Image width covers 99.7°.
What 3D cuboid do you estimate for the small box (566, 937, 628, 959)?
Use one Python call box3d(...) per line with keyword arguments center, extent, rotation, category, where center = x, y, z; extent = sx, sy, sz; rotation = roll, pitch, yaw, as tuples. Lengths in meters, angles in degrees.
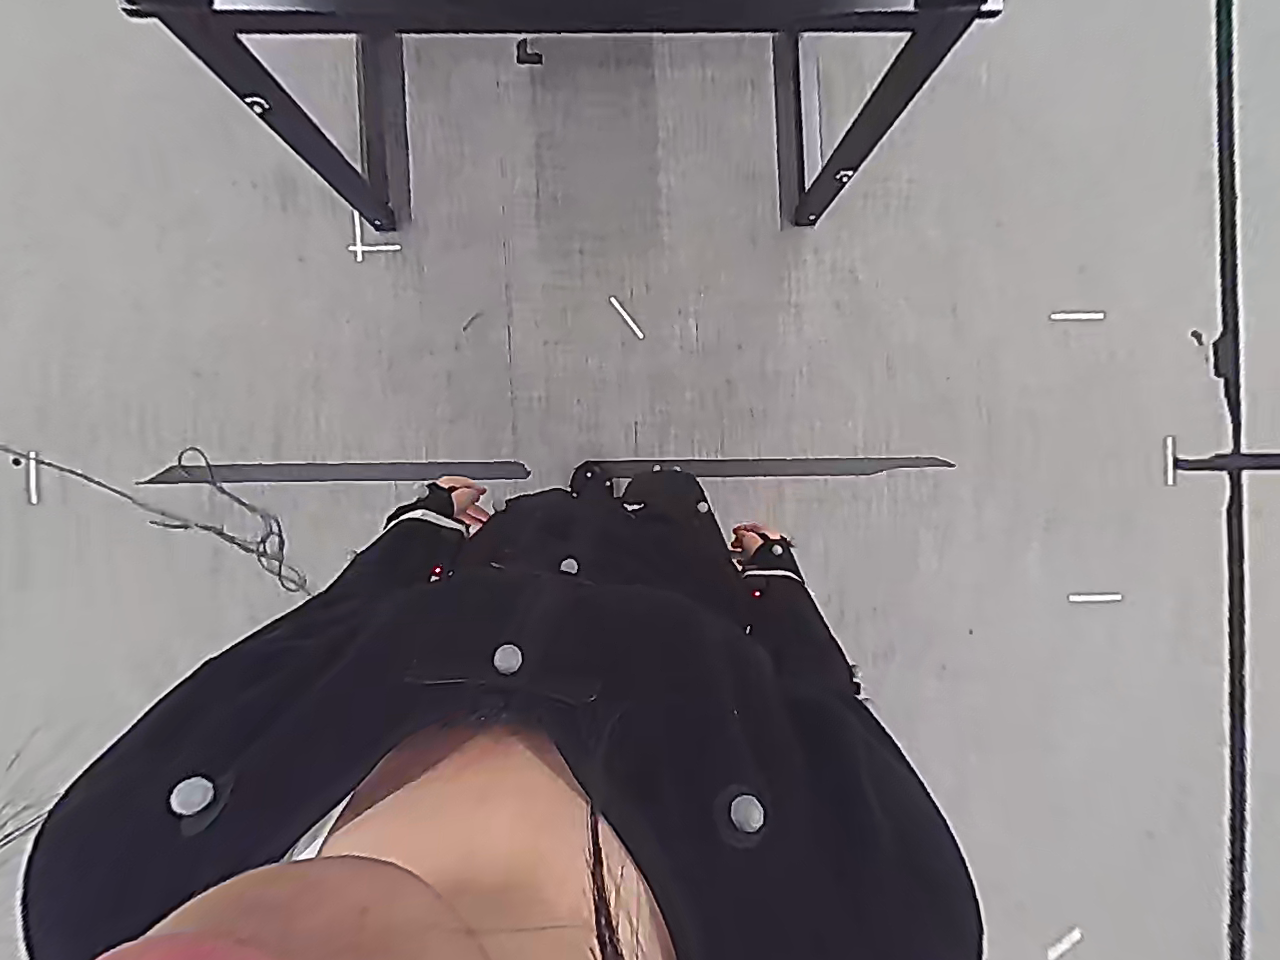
box3d(center=(-0.113, 1.352, 1.423), extent=(0.168, 0.176, 0.179), rotation=(-4, 92, -2), category="small box")
